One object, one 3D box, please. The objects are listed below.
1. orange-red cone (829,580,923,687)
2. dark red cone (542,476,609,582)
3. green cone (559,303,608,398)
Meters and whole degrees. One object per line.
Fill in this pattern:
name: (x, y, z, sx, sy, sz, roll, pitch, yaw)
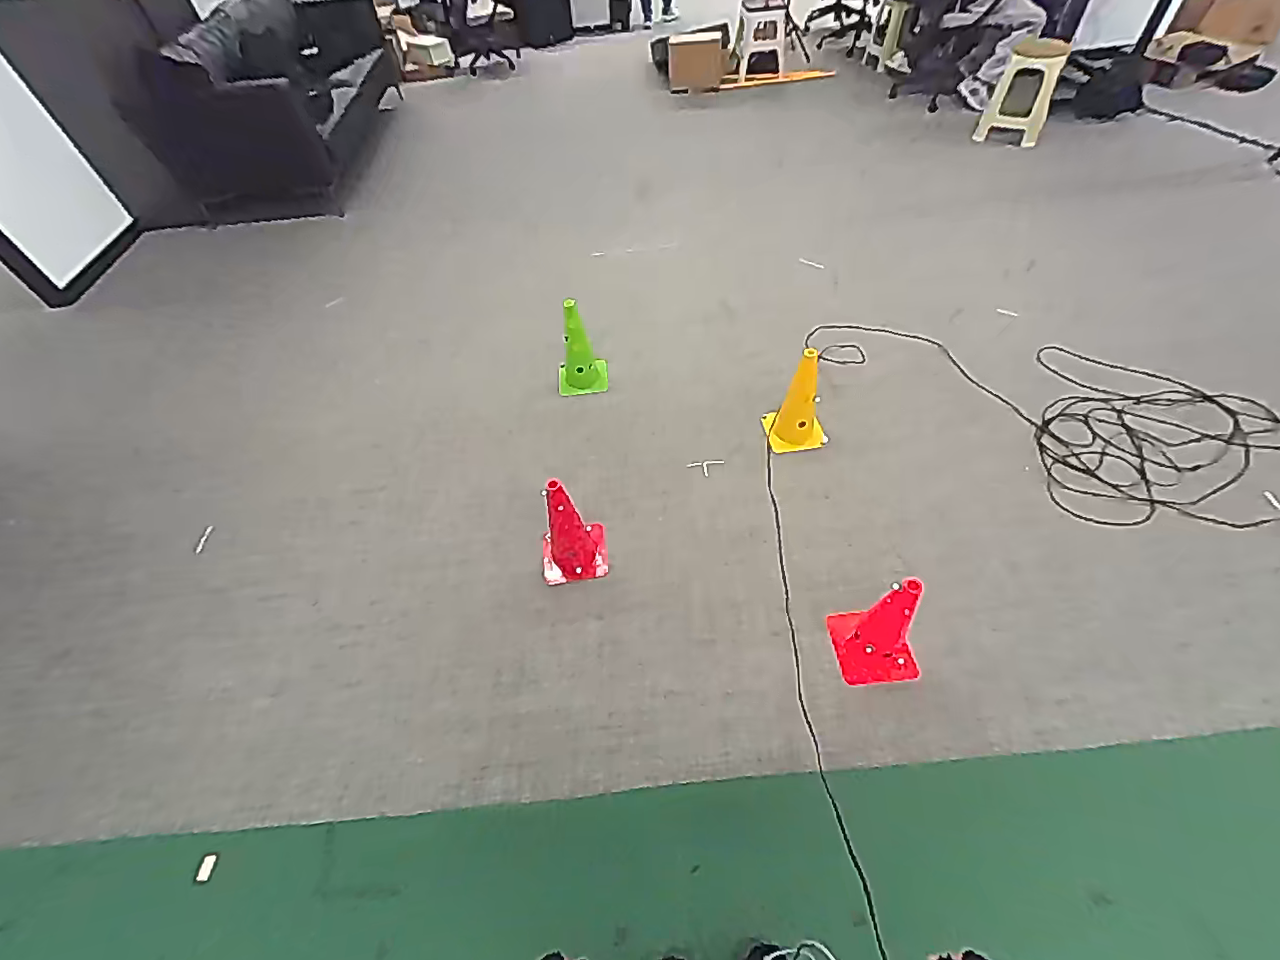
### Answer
orange-red cone: (0.617, 0.348, 1.331, 0.198, 0.360, 0.199, -5, 50, 0)
dark red cone: (-0.215, 0.121, 1.562, 0.202, 0.394, 0.201, -10, 52, -3)
green cone: (-0.246, -0.520, 2.116, 0.202, 0.368, 0.200, -6, 51, -2)
